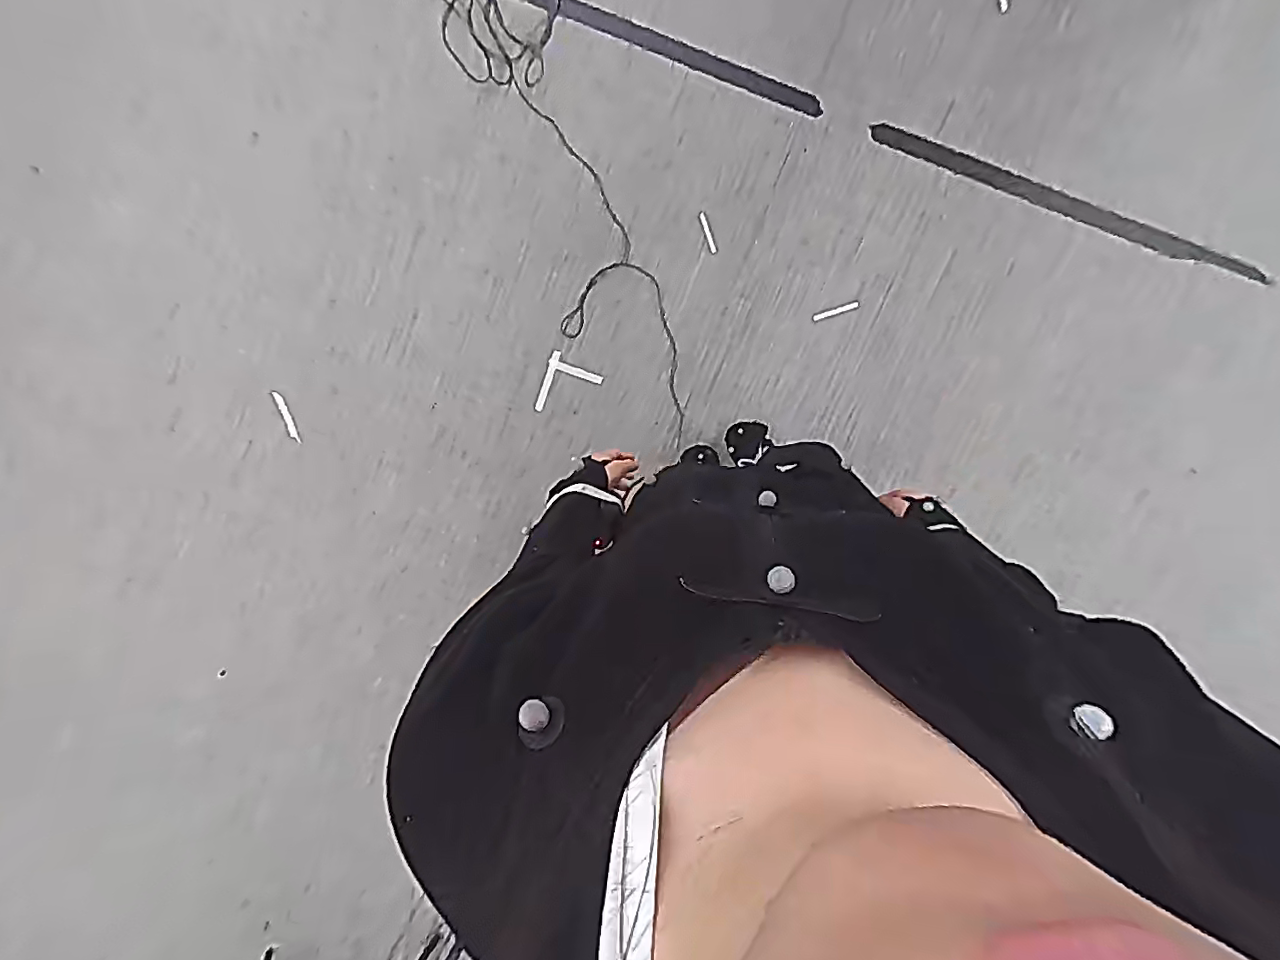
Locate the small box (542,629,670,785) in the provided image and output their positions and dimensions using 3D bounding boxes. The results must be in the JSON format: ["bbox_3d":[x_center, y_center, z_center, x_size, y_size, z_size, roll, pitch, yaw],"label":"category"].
[{"bbox_3d":[-0.056,0.403,0.997,0.168,0.176,0.179,27,96,2],"label":"small box"}]
